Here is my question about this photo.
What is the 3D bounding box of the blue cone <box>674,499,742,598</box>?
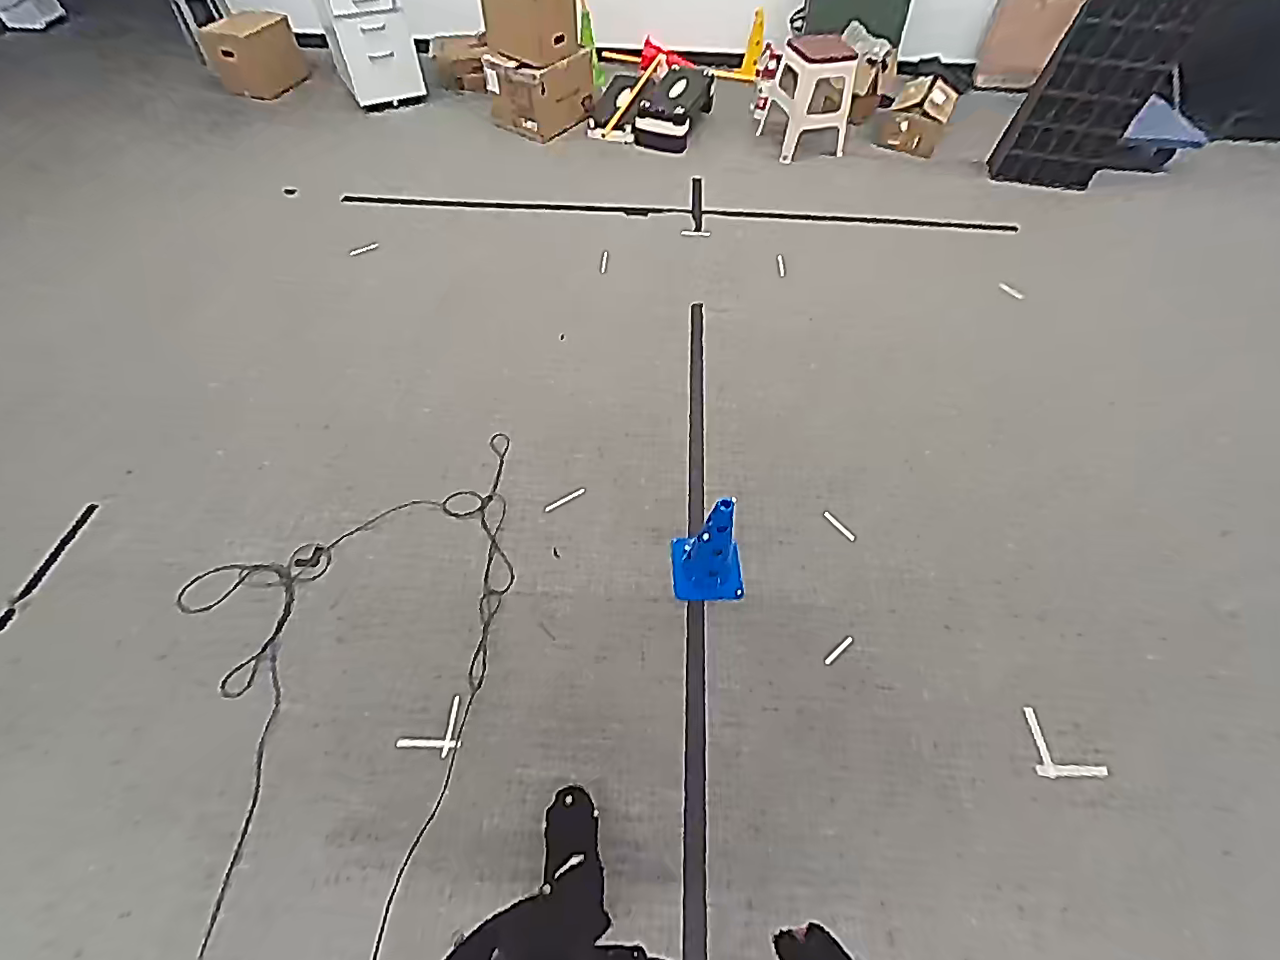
[{"bbox_3d":[0.205,0.165,1.453,0.192,0.380,0.193,1,55,-2],"label":"blue cone"}]
